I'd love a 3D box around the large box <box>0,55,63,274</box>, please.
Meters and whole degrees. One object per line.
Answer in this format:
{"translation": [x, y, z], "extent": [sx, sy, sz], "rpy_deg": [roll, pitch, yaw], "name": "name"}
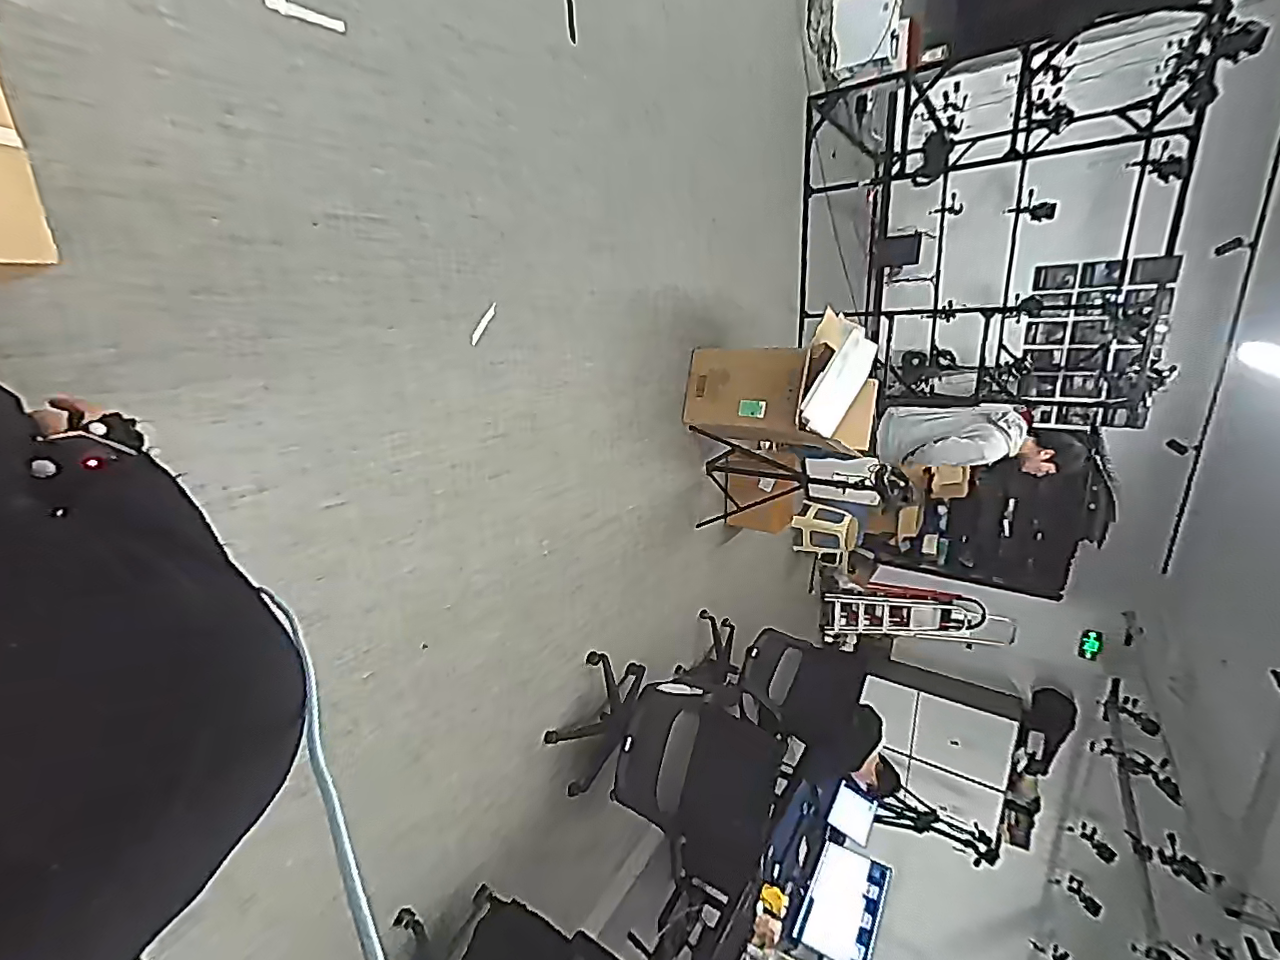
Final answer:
{"translation": [-1.036, -0.420, 0.626], "extent": [0.408, 0.320, 0.320], "rpy_deg": [-25, 118, -53], "name": "large box"}
